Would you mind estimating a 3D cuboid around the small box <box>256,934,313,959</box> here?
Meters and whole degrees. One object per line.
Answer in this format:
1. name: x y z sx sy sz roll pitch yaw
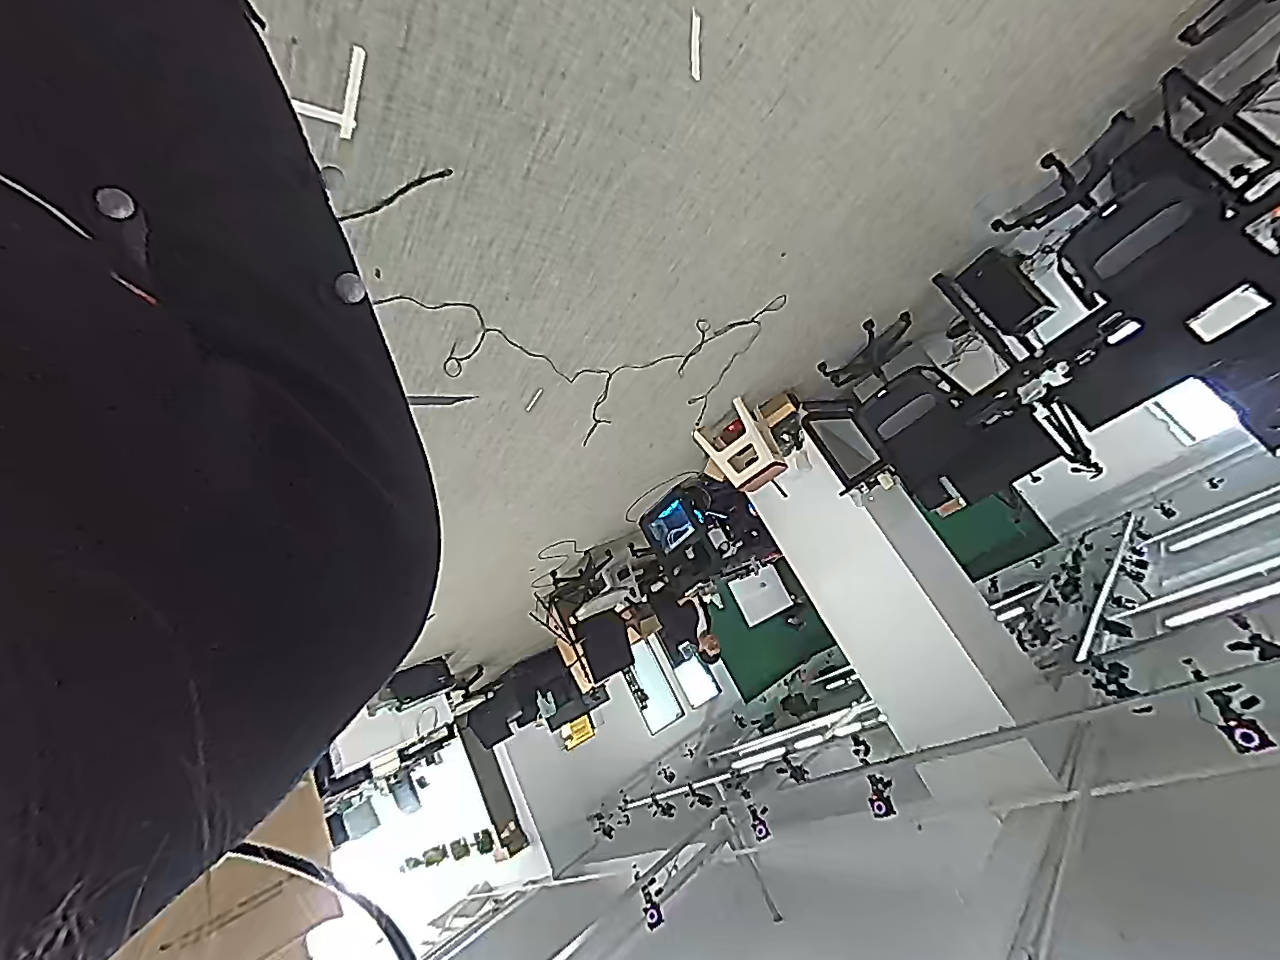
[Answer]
1. small box: -1.118 1.555 1.672 0.179 0.176 0.168 -9 153 -44
